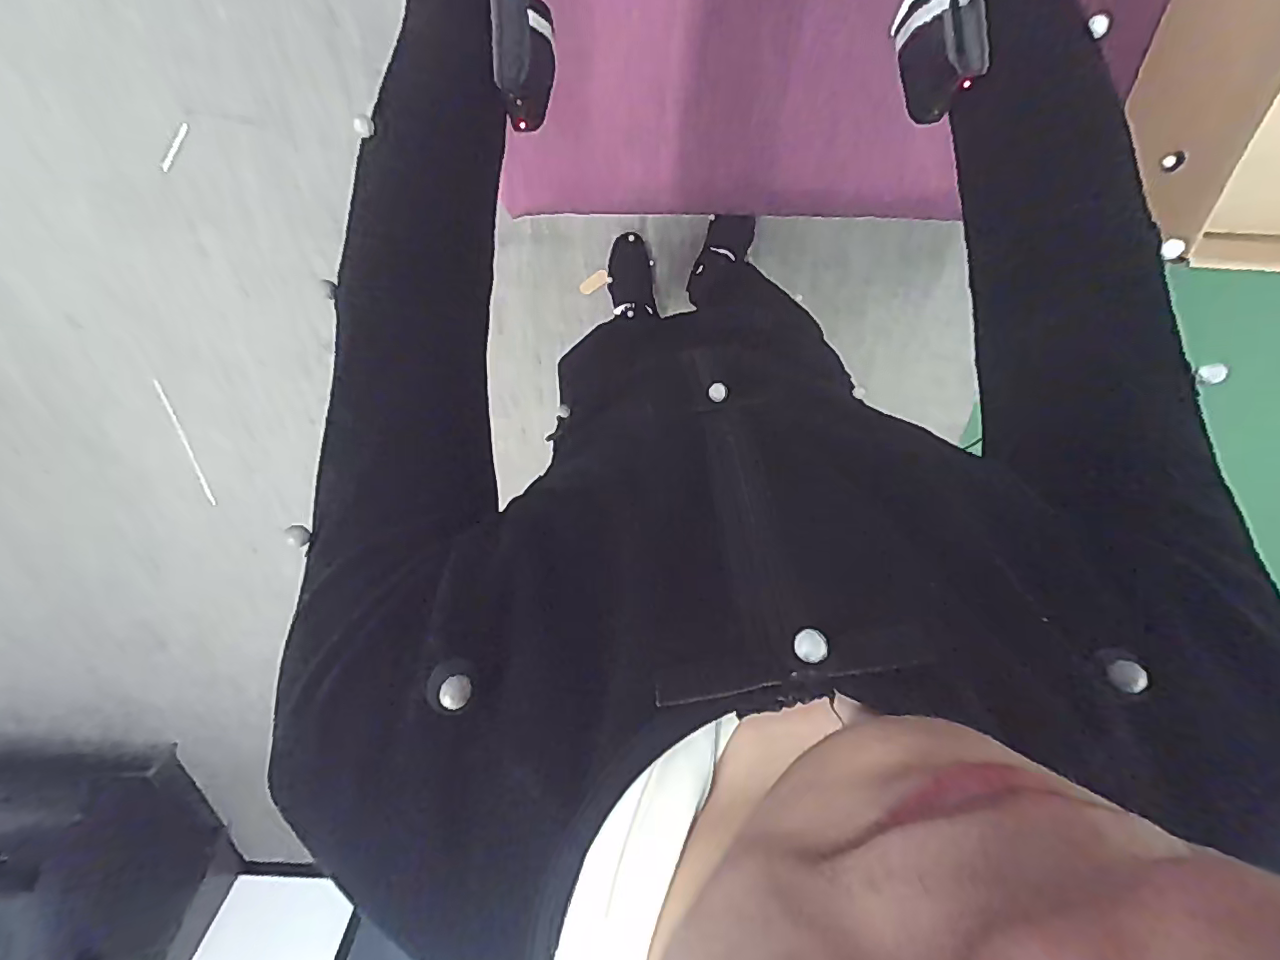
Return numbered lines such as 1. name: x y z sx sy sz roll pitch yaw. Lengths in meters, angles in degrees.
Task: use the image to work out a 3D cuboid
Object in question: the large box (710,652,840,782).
1. large box: 0.549 0.984 2.254 0.408 0.320 0.320 -25 119 15
